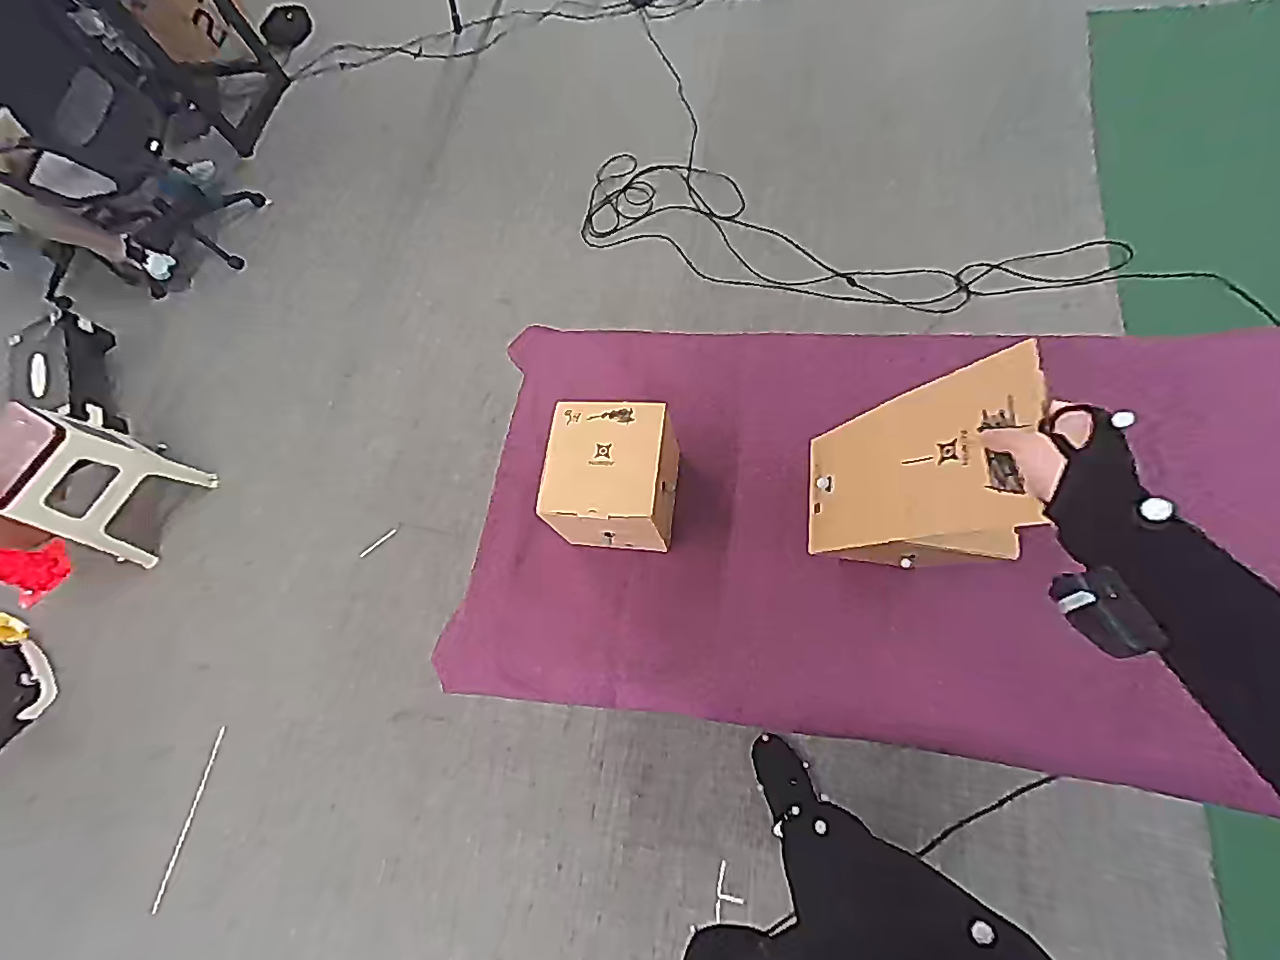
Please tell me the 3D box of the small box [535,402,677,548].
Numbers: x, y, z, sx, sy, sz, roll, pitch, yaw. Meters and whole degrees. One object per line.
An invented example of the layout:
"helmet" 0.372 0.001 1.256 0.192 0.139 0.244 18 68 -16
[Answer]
"small box" -0.039 -0.002 0.819 0.168 0.176 0.179 3 70 12

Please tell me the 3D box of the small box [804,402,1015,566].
"small box" 0.334 0.018 0.694 0.179 0.176 0.168 8 76 -9
